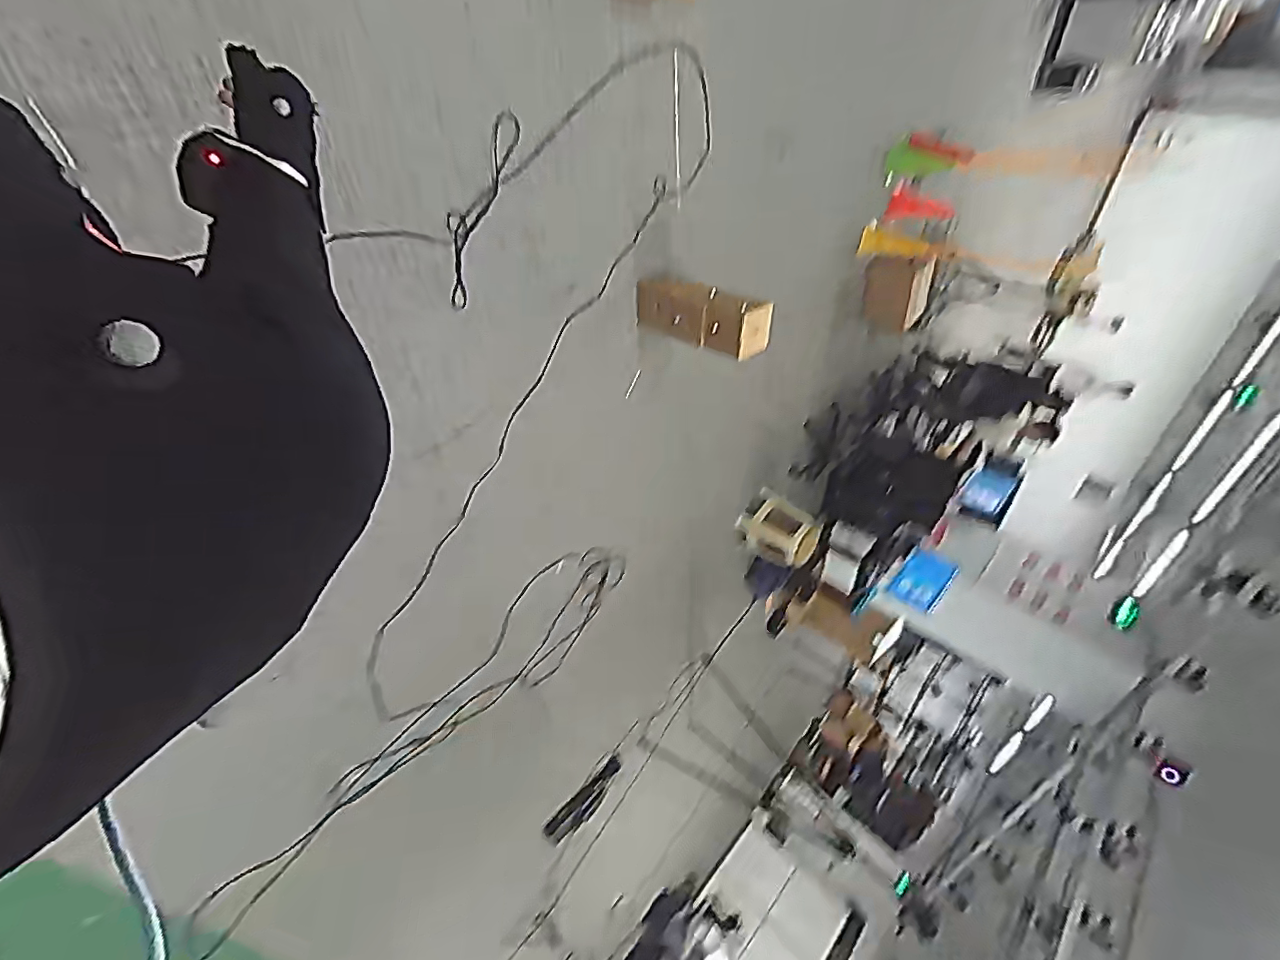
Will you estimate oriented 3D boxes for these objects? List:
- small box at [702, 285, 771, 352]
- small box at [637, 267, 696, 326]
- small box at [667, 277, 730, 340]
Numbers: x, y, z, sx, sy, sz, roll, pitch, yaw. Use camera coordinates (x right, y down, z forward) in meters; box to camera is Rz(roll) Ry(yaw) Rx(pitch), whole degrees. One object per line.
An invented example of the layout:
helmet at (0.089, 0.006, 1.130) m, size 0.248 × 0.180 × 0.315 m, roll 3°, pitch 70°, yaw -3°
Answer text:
small box at (0.343, -0.586, 1.947) m, size 0.179 × 0.176 × 0.168 m, roll -33°, pitch 138°, yaw -33°
small box at (0.102, -0.724, 2.120) m, size 0.168 × 0.176 × 0.179 m, roll -34°, pitch 138°, yaw -33°
small box at (0.221, -0.650, 2.032) m, size 0.179 × 0.176 × 0.168 m, roll -33°, pitch 138°, yaw -33°
